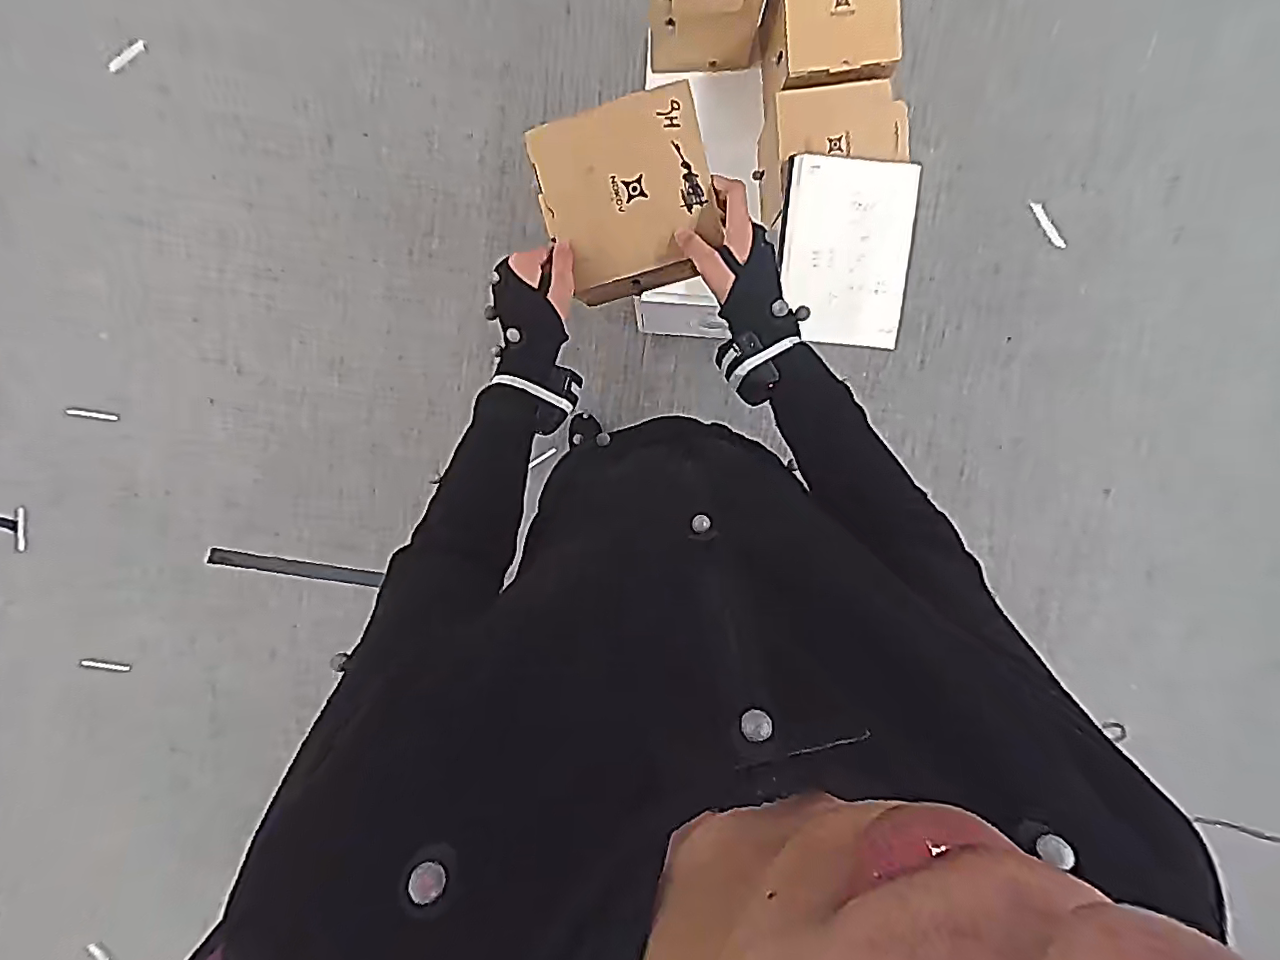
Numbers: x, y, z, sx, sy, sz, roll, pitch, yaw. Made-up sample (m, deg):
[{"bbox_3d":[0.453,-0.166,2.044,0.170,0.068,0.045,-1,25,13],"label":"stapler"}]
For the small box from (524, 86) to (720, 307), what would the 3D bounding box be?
[{"bbox_3d":[-0.014,-0.313,0.639,0.179,0.176,0.168,-14,102,5],"label":"small box"}]
